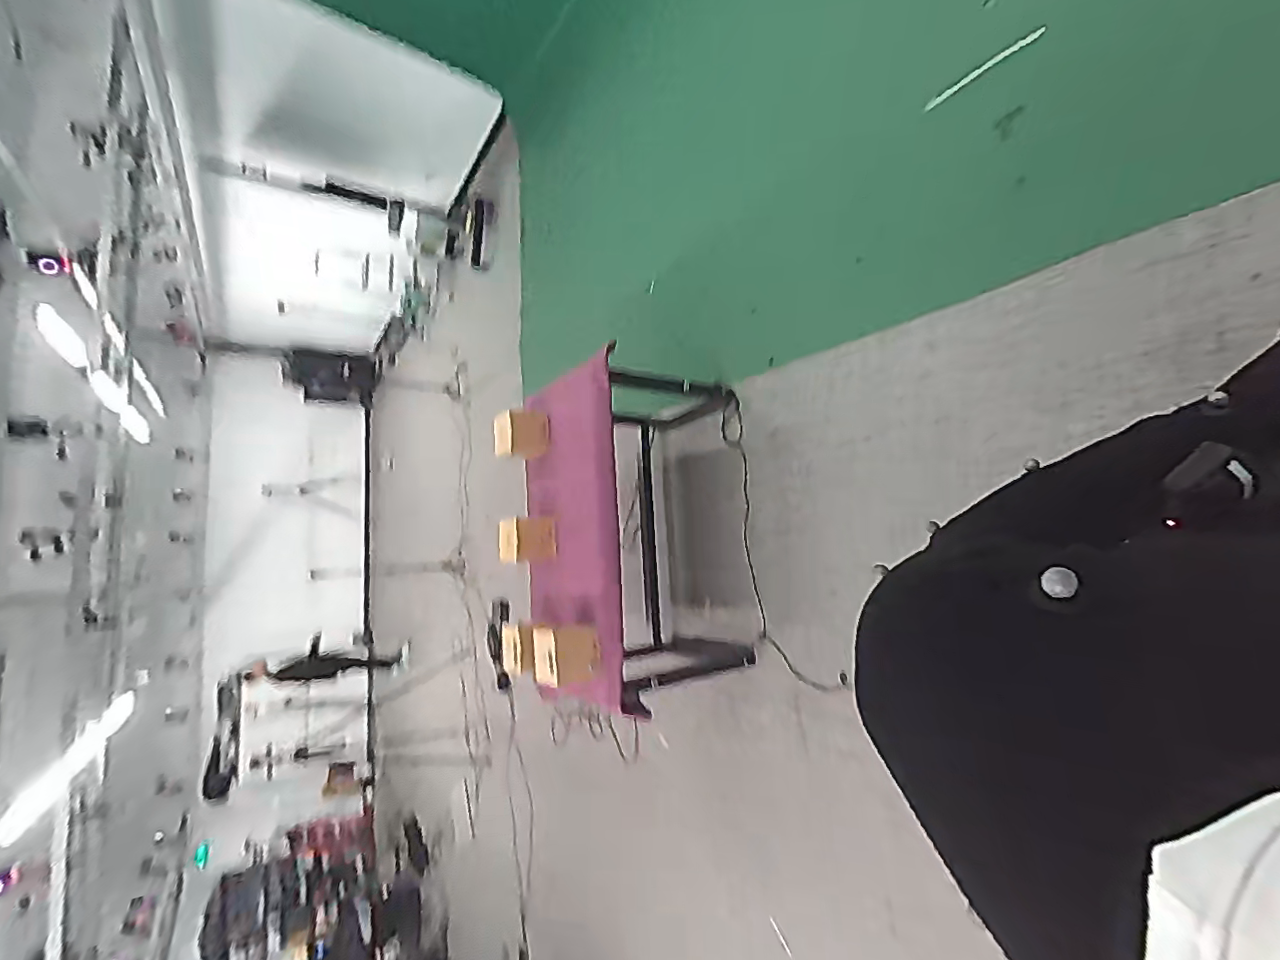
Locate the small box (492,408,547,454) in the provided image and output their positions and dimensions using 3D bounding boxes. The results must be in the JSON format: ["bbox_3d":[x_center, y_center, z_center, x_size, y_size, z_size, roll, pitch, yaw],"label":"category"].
[{"bbox_3d":[-0.496,-0.196,2.218,0.179,0.176,0.168,-10,84,53],"label":"small box"}]

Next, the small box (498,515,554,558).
[{"bbox_3d":[-0.454,0.227,2.156,0.179,0.176,0.168,-11,80,53],"label":"small box"}]

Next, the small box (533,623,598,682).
[{"bbox_3d":[-0.251,0.584,1.852,0.179,0.176,0.168,-20,72,54],"label":"small box"}]
